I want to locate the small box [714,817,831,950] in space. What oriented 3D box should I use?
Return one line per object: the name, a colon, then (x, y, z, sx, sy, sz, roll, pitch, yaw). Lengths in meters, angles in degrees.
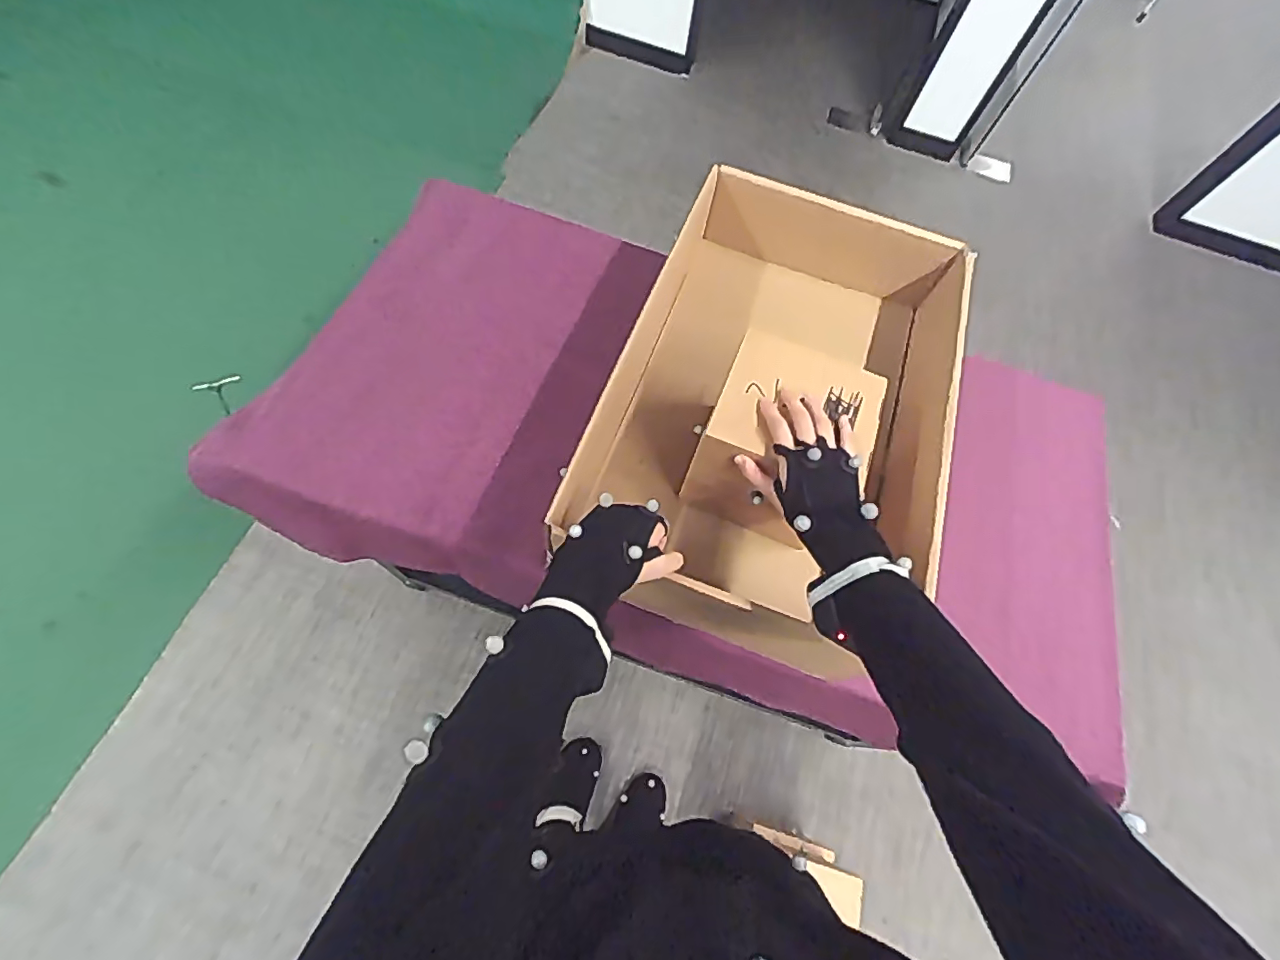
small box: (0.274, 0.835, 1.141, 0.179, 0.176, 0.168, 18, 65, 3)
